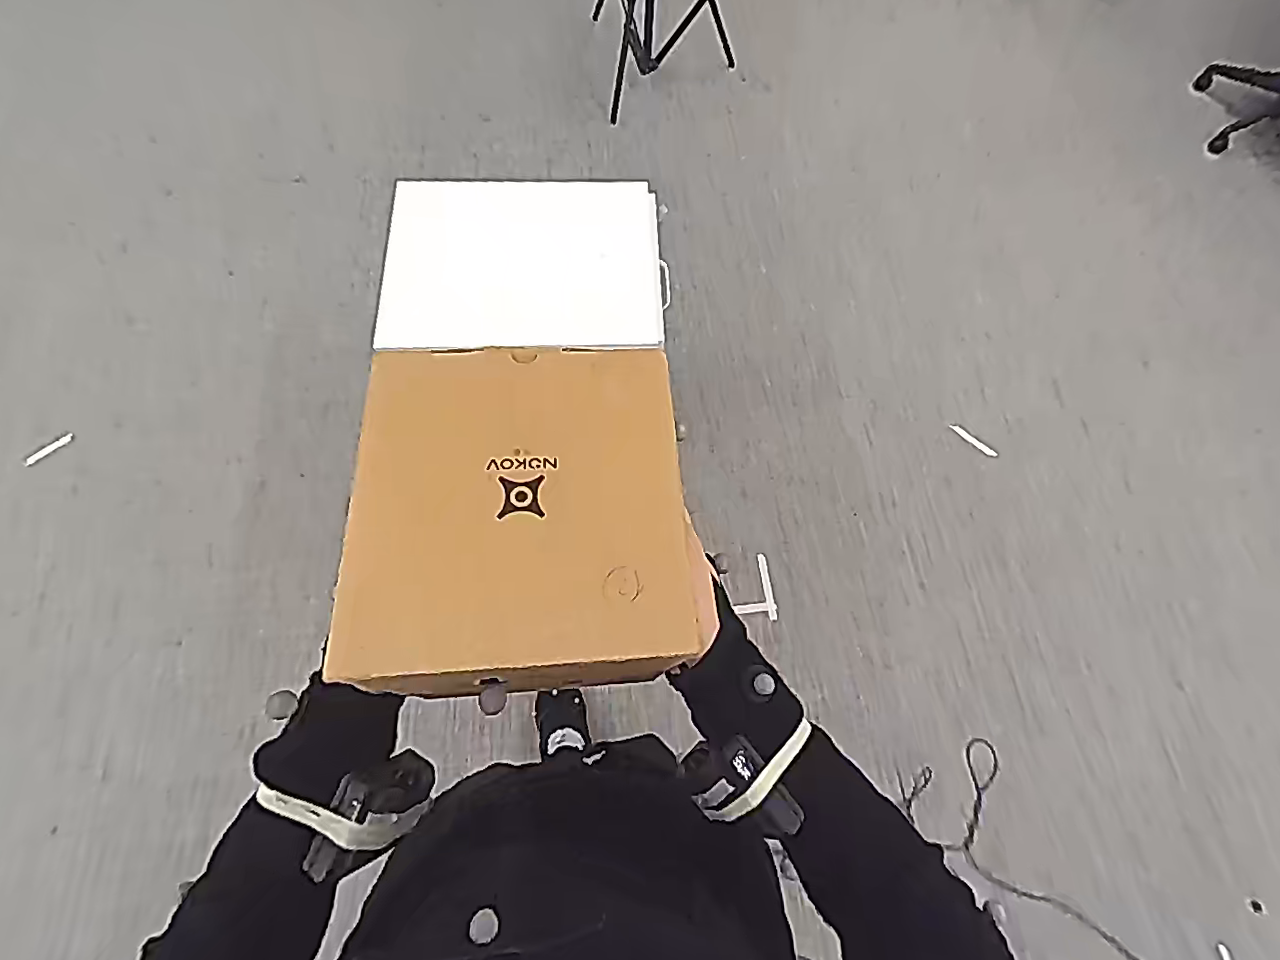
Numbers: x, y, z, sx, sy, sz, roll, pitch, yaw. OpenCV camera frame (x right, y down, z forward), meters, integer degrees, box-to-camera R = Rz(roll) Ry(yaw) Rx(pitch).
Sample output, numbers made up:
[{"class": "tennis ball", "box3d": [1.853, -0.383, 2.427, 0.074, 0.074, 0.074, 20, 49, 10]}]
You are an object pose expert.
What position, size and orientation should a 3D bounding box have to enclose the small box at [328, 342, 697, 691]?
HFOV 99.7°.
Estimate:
[{"class": "small box", "box3d": [-0.066, 0.035, 0.344, 0.168, 0.176, 0.179, -2, 65, -7]}]
